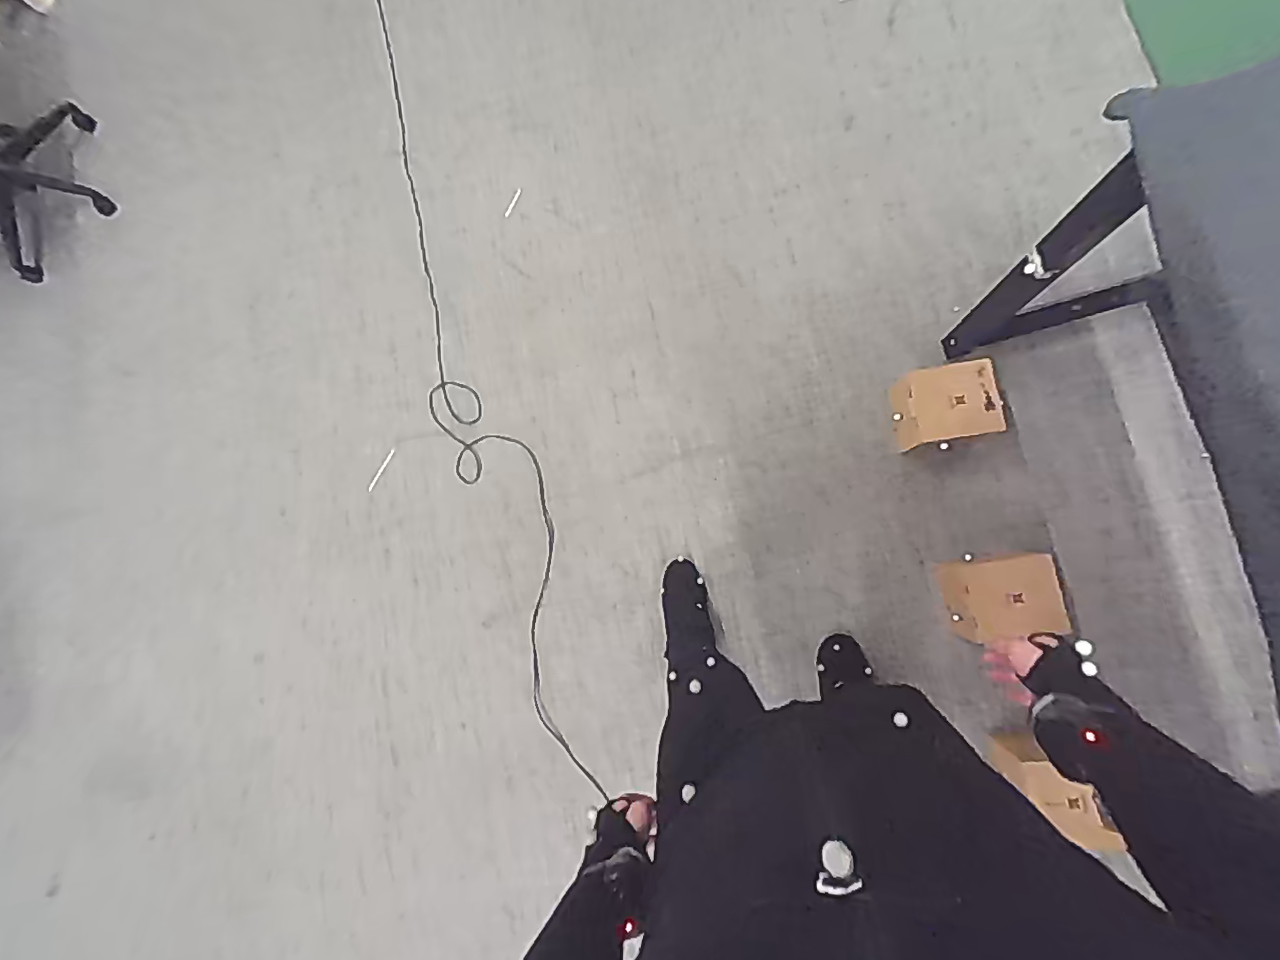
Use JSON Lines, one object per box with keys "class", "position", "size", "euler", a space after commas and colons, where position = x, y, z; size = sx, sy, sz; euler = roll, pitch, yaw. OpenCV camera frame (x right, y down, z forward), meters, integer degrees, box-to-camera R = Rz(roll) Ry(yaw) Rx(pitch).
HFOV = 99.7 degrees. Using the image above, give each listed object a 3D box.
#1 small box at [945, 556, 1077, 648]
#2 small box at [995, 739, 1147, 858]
{"class": "small box", "position": [0.797, 0.261, 1.188], "size": [0.179, 0.176, 0.168], "euler": [-11, 83, 8]}
{"class": "small box", "position": [0.879, 0.649, 1.120], "size": [0.179, 0.176, 0.168], "euler": [-8, 82, 12]}
